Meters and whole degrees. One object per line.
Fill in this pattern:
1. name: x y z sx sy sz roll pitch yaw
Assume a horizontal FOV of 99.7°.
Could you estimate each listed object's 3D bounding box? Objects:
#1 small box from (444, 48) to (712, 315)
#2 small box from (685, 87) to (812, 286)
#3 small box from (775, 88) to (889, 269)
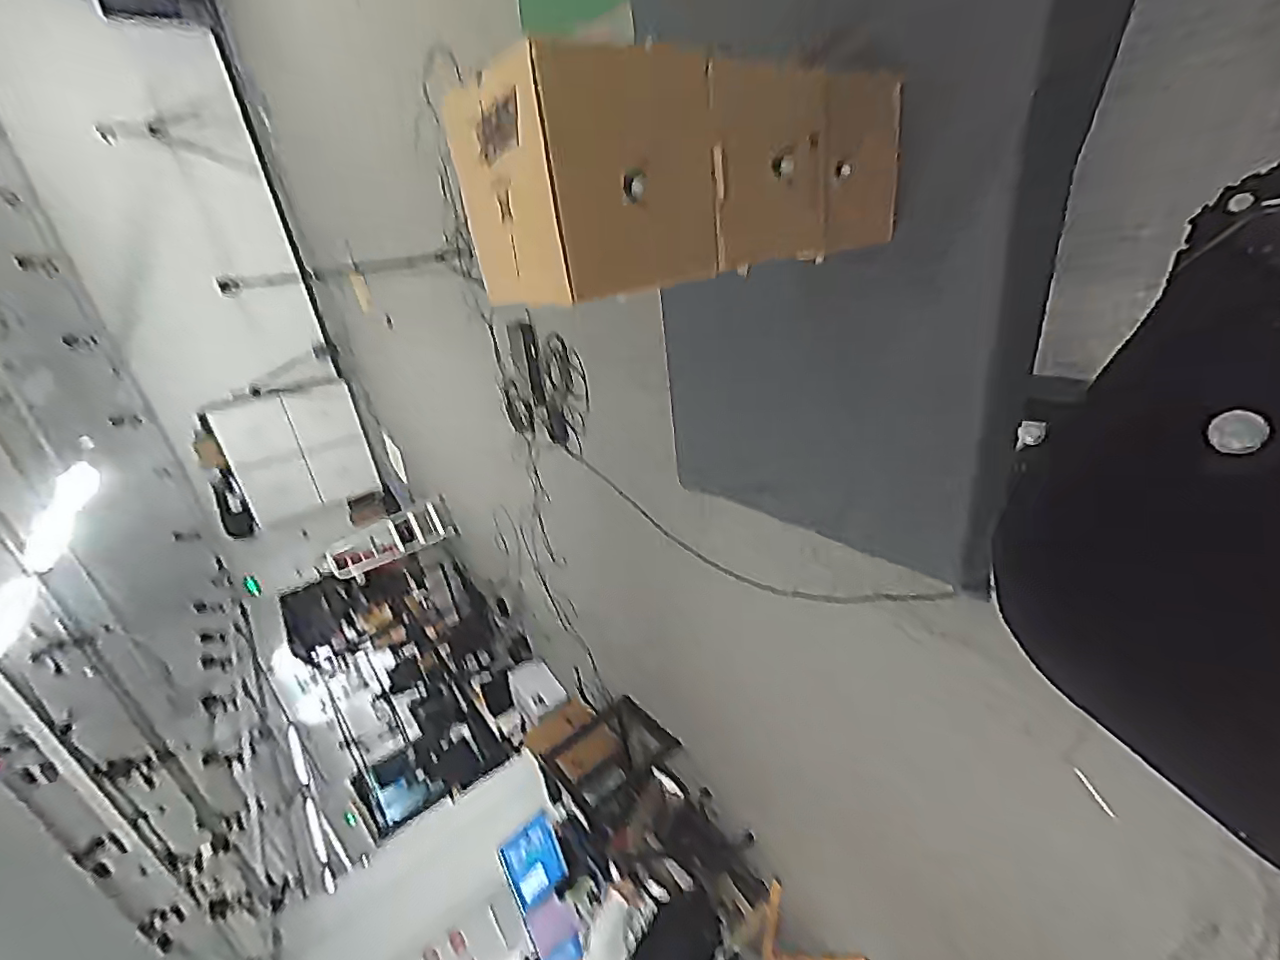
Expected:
1. small box: -0.052 -0.257 0.502 0.168 0.176 0.179 18 124 49
2. small box: 0.073 -0.311 0.594 0.179 0.176 0.168 19 126 48
3. small box: 0.195 -0.370 0.686 0.168 0.176 0.179 20 126 48
